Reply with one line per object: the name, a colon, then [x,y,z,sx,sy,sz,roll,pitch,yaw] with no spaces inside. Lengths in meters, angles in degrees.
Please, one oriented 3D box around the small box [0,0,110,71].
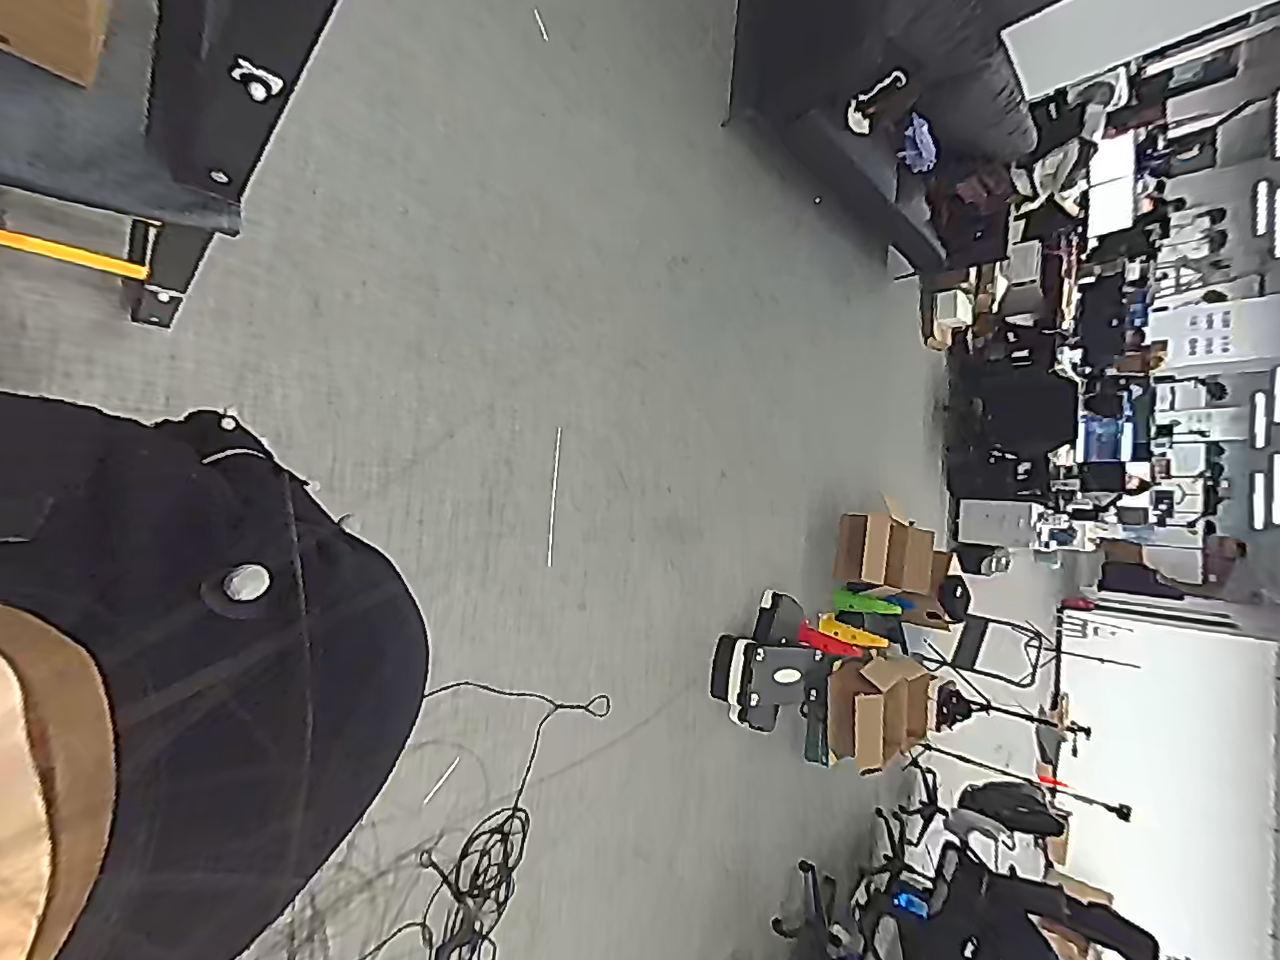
small box: [-0.548,-0.499,0.444,0.168,0.176,0.179,12,83,-45]
